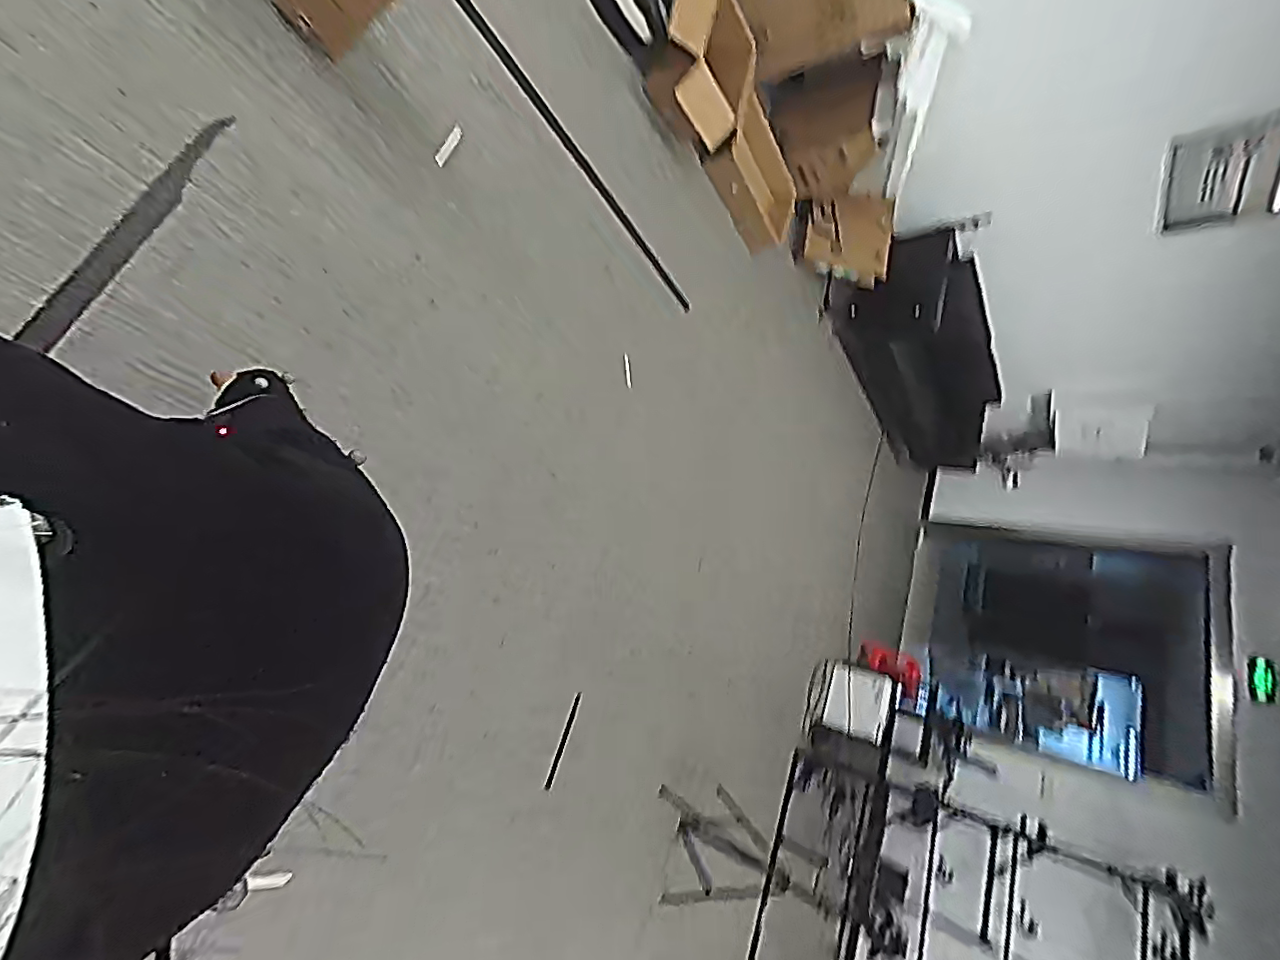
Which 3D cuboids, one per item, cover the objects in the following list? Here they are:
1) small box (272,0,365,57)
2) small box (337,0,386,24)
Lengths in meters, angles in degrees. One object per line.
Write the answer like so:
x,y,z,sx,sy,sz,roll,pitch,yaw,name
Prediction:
-0.743,-1.175,1.288,0.168,0.176,0.179,32,70,-46,small box
-0.616,-1.166,1.183,0.179,0.176,0.168,38,65,-45,small box
